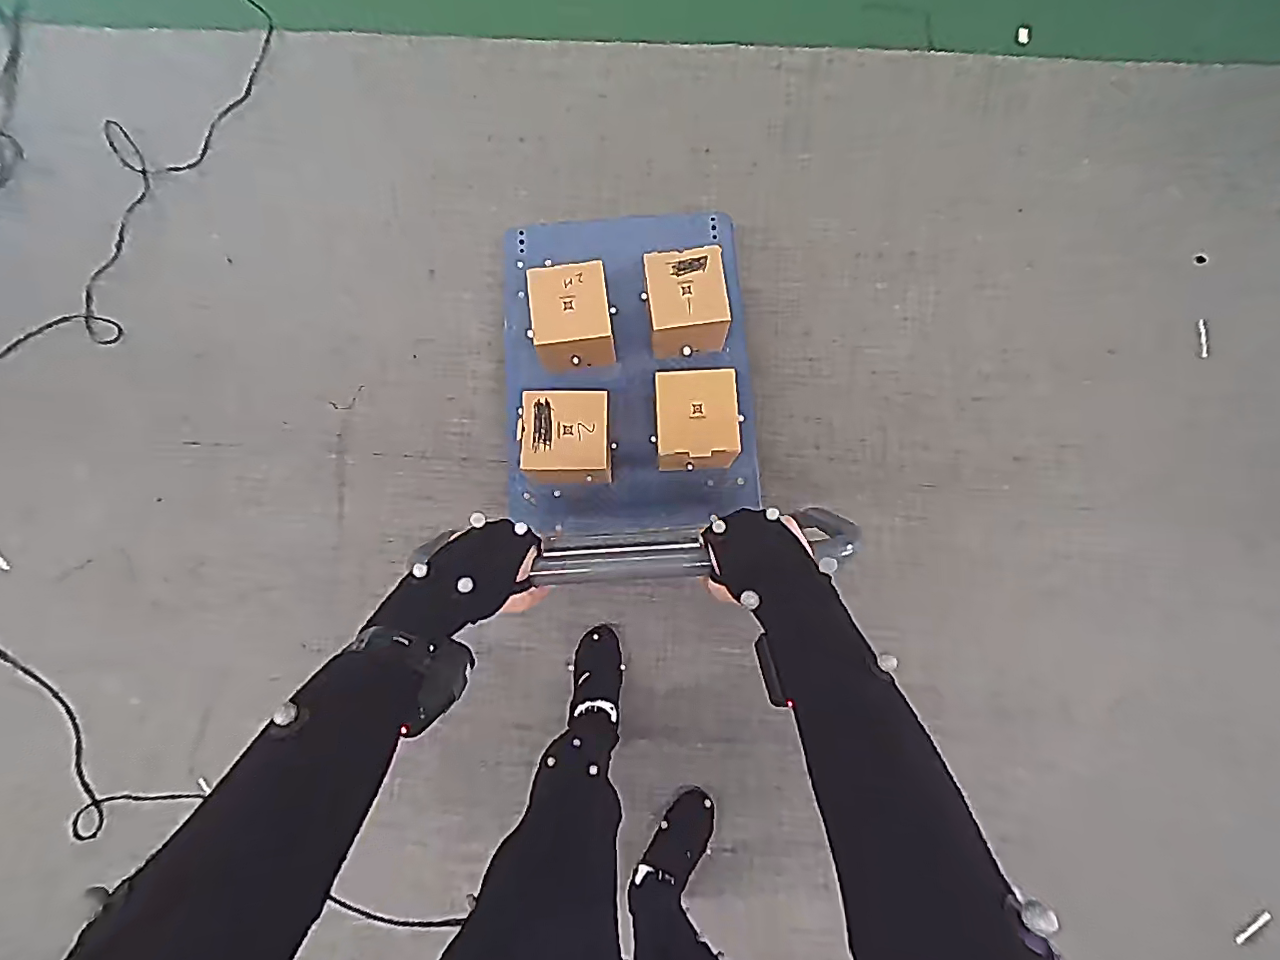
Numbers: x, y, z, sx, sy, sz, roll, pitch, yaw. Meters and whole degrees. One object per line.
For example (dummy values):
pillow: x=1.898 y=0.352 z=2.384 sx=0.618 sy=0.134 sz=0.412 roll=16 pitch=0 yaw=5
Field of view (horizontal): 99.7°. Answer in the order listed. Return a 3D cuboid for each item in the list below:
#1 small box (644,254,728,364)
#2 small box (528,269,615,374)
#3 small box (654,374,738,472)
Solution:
small box: x=0.098 y=-0.386 z=1.240 sx=0.168 sy=0.176 sz=0.179 roll=-7 pitch=81 yaw=1
small box: x=-0.151 y=-0.352 z=1.239 sx=0.168 sy=0.176 sz=0.179 roll=-7 pitch=80 yaw=-1
small box: x=0.117 y=-0.120 z=1.195 sx=0.168 sy=0.176 sz=0.179 roll=-3 pitch=81 yaw=0
